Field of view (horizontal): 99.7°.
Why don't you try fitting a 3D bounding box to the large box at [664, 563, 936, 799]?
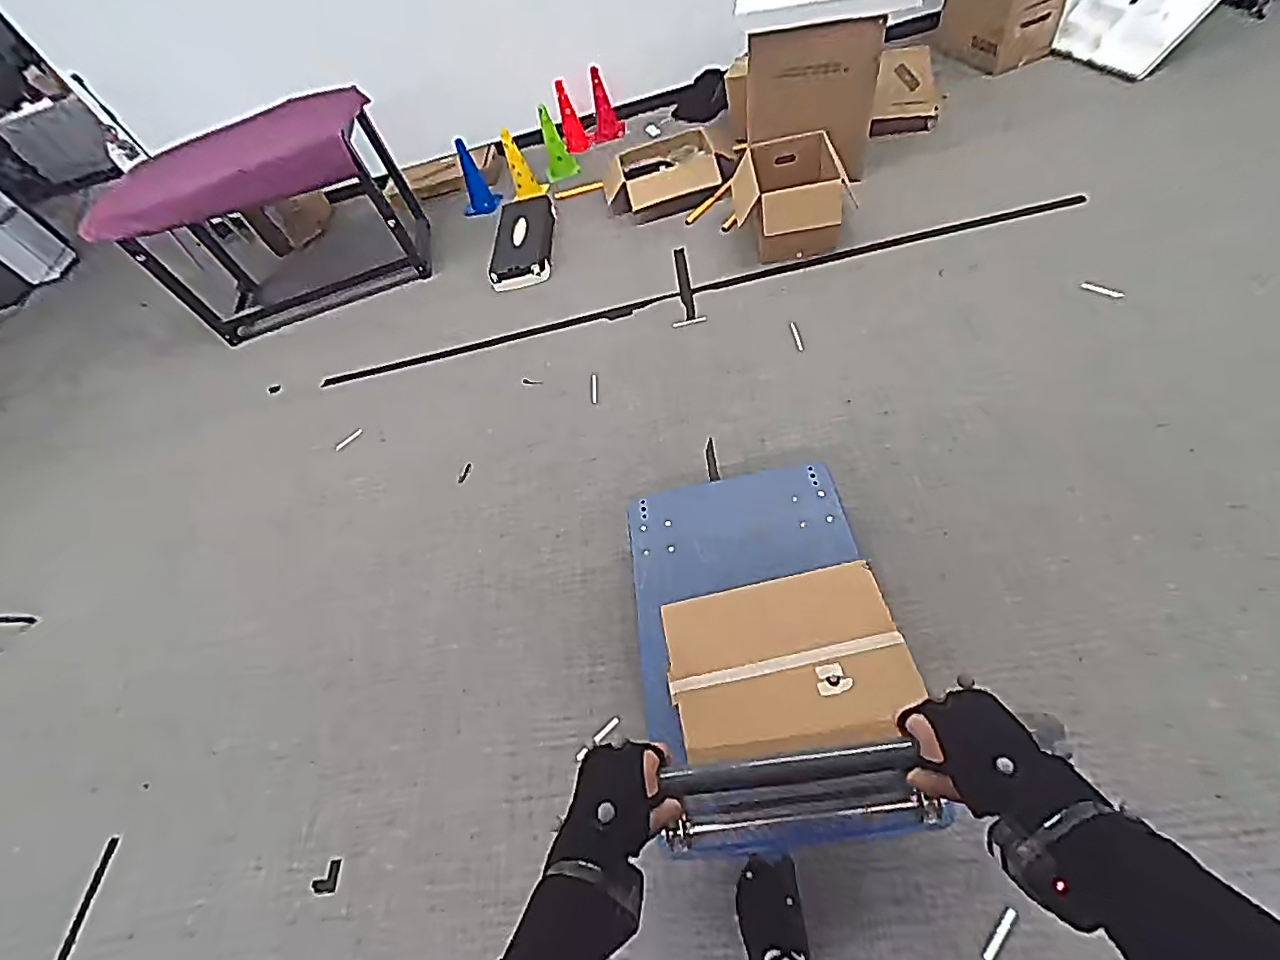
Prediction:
[{"bbox_3d":[0.289,0.412,1.082,0.408,0.320,0.320,-14,54,4],"label":"large box"}]
